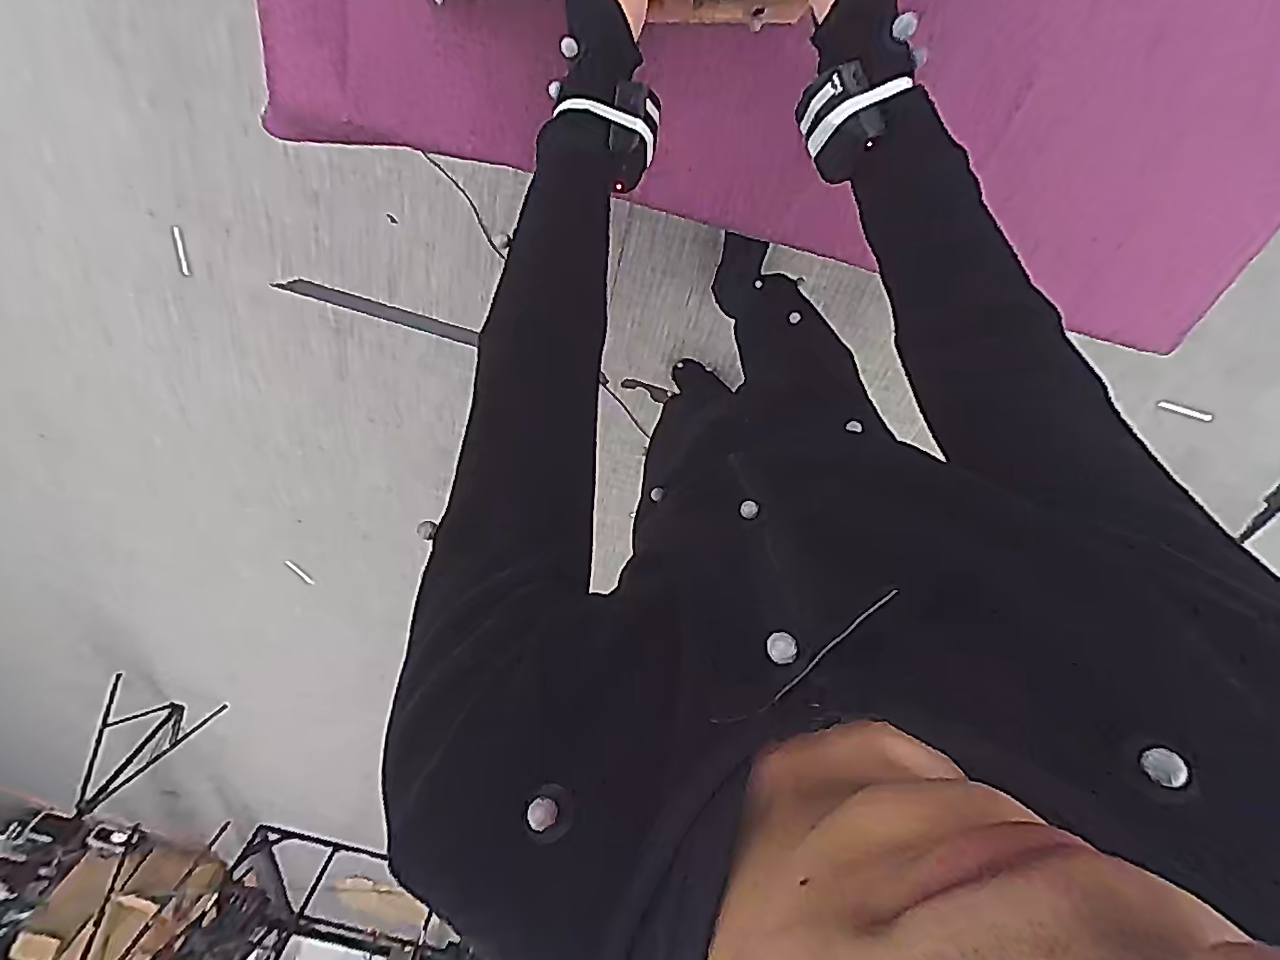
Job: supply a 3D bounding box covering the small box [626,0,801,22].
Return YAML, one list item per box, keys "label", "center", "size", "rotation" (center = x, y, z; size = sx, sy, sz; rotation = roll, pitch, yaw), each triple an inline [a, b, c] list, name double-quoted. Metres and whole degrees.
- label: "small box"
  center: [0.077, -0.529, 0.479]
  size: [0.168, 0.176, 0.179]
  rotation: [5, 124, 5]
